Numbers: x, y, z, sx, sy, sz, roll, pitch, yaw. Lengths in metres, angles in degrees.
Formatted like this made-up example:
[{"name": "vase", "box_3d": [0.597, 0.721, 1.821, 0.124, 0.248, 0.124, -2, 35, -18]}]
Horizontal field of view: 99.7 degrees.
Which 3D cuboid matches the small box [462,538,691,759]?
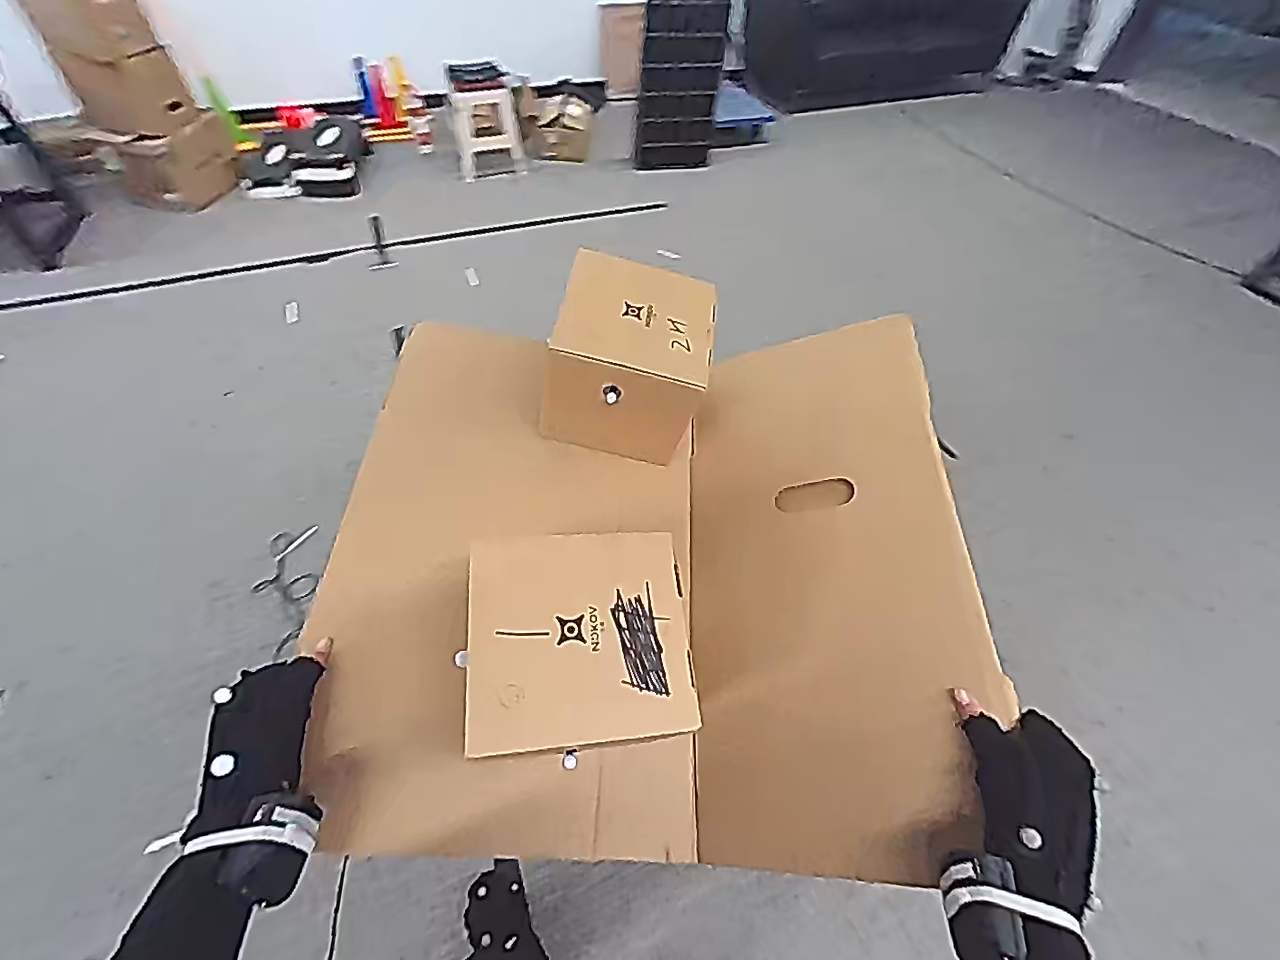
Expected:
[{"name": "small box", "box_3d": [-0.068, 0.161, 0.509, 0.179, 0.176, 0.168, -1, 62, -14]}]
